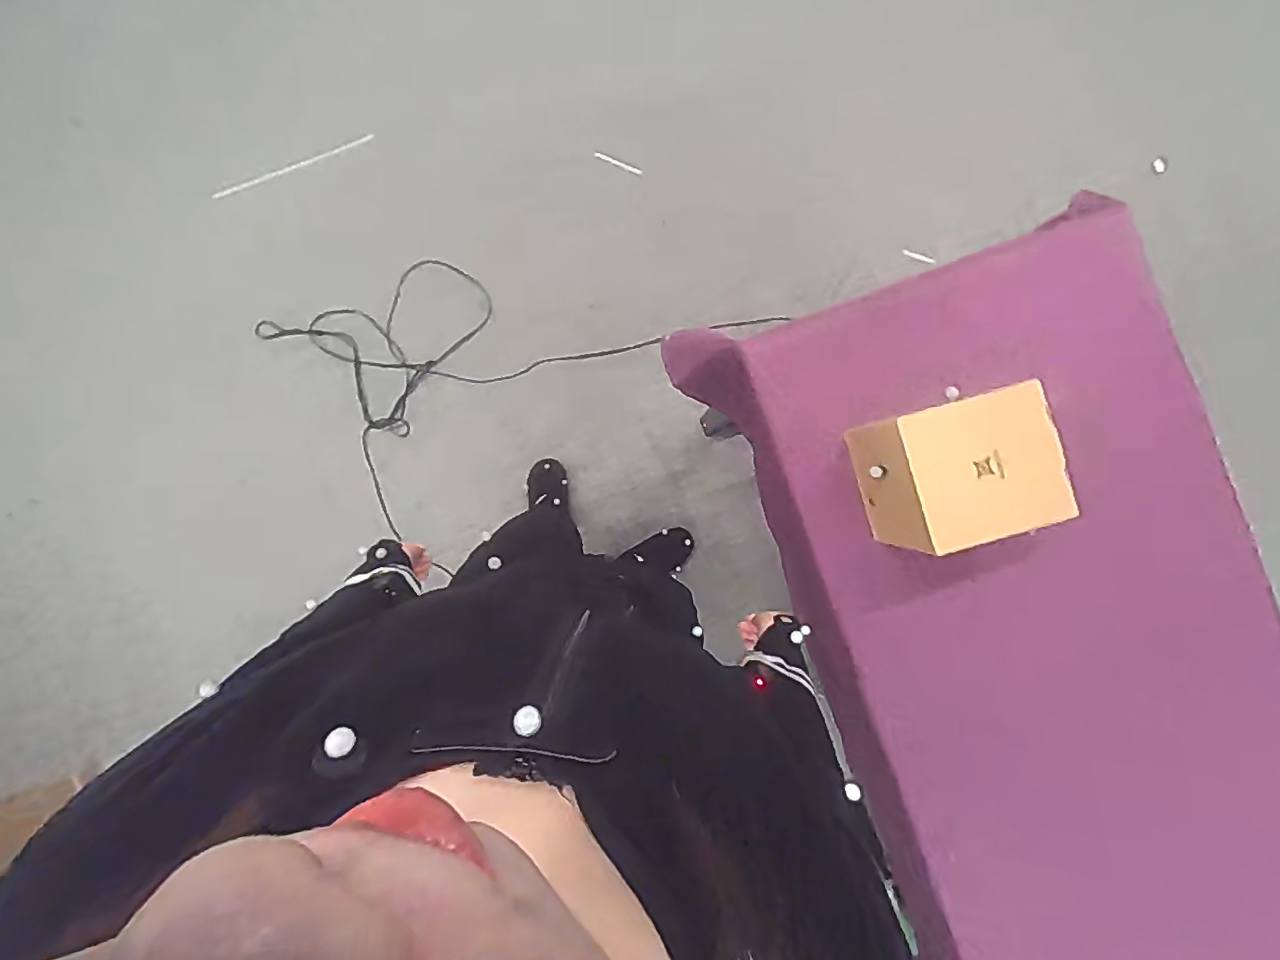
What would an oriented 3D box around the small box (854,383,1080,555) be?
[{"bbox_3d":[0.398,-0.009,0.696,0.179,0.176,0.168,-16,89,-1],"label":"small box"}]
